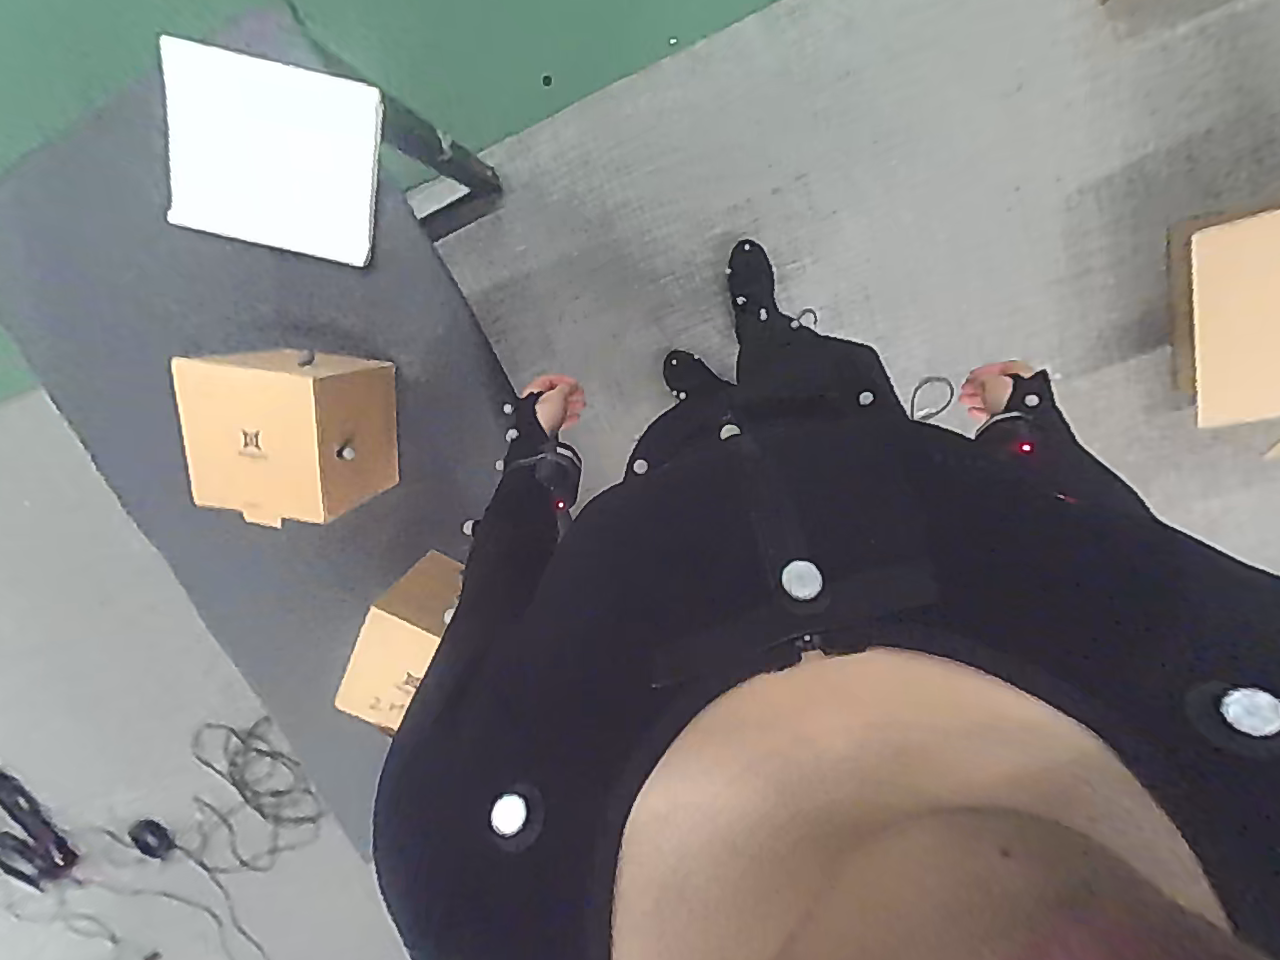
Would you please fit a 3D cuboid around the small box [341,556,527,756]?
[{"bbox_3d":[-0.277,0.236,0.763,0.168,0.176,0.179,27,108,-3],"label":"small box"}]

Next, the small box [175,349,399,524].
[{"bbox_3d":[-0.423,-0.065,0.681,0.168,0.176,0.179,7,109,3],"label":"small box"}]
